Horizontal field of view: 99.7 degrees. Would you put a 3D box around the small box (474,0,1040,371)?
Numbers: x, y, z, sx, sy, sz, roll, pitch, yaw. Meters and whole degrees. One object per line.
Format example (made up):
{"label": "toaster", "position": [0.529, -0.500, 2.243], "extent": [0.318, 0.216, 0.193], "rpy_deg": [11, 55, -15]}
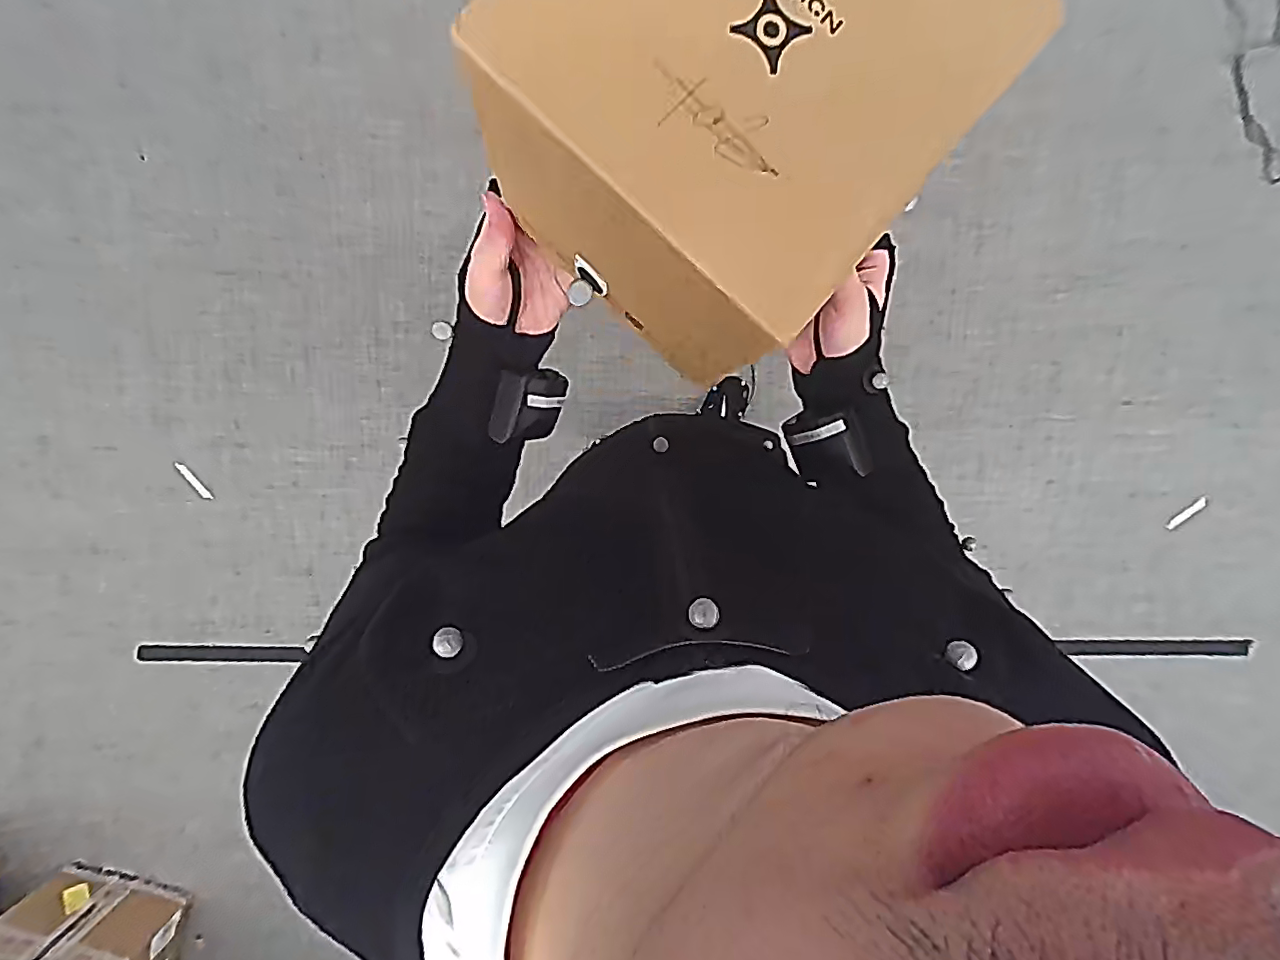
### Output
{"label": "small box", "position": [0.043, -0.181, 0.292], "extent": [0.168, 0.176, 0.179], "rpy_deg": [40, 91, -7]}
